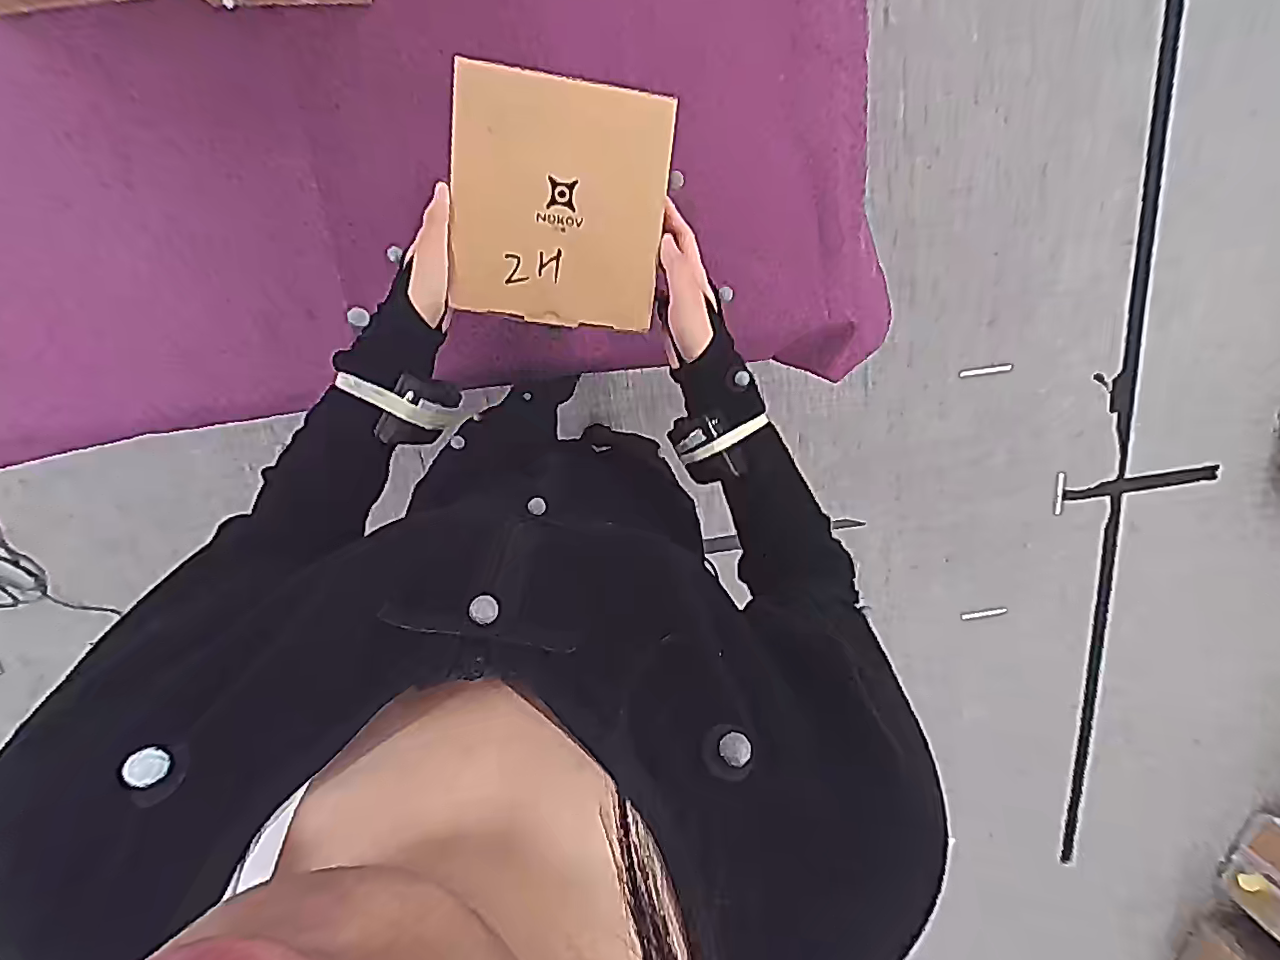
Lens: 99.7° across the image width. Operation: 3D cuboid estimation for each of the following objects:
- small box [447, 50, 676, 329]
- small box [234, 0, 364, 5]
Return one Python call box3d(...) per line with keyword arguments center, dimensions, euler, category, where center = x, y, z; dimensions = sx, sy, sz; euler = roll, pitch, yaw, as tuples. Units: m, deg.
box3d(center=(-0.072, -0.239, 0.497), dimensions=(0.168, 0.176, 0.179), euler=(5, 105, -8), category="small box")
box3d(center=(-0.362, -0.559, 0.474), dimensions=(0.168, 0.176, 0.179), euler=(-5, 108, -5), category="small box")
